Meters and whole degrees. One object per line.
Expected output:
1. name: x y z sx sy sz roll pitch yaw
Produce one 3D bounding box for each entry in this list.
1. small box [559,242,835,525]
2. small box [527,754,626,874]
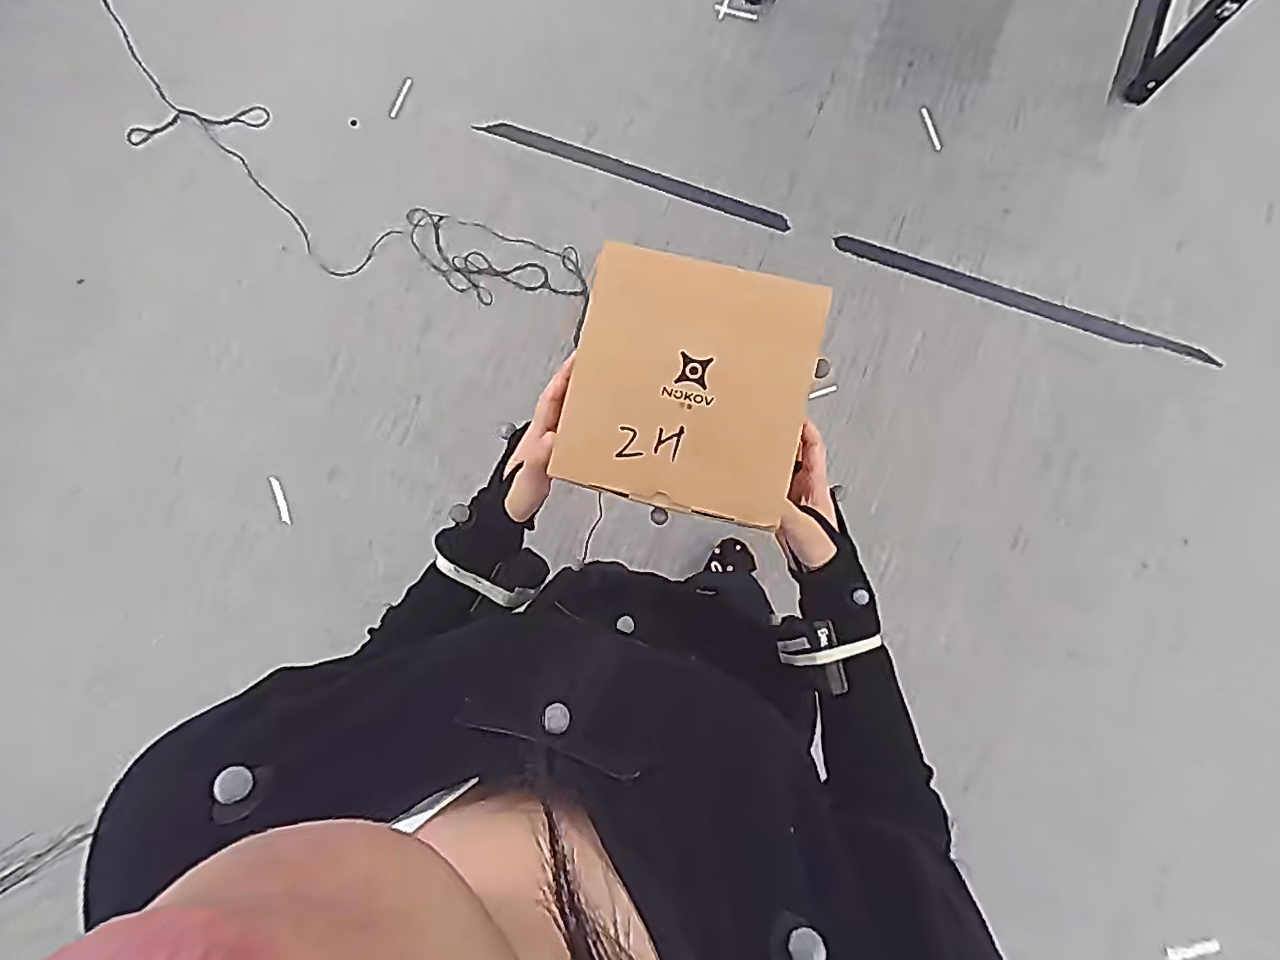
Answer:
1. small box: 0.044 -0.065 0.461 0.168 0.176 0.179 13 87 4
2. small box: -0.151 0.821 1.355 0.179 0.176 0.168 27 85 7
